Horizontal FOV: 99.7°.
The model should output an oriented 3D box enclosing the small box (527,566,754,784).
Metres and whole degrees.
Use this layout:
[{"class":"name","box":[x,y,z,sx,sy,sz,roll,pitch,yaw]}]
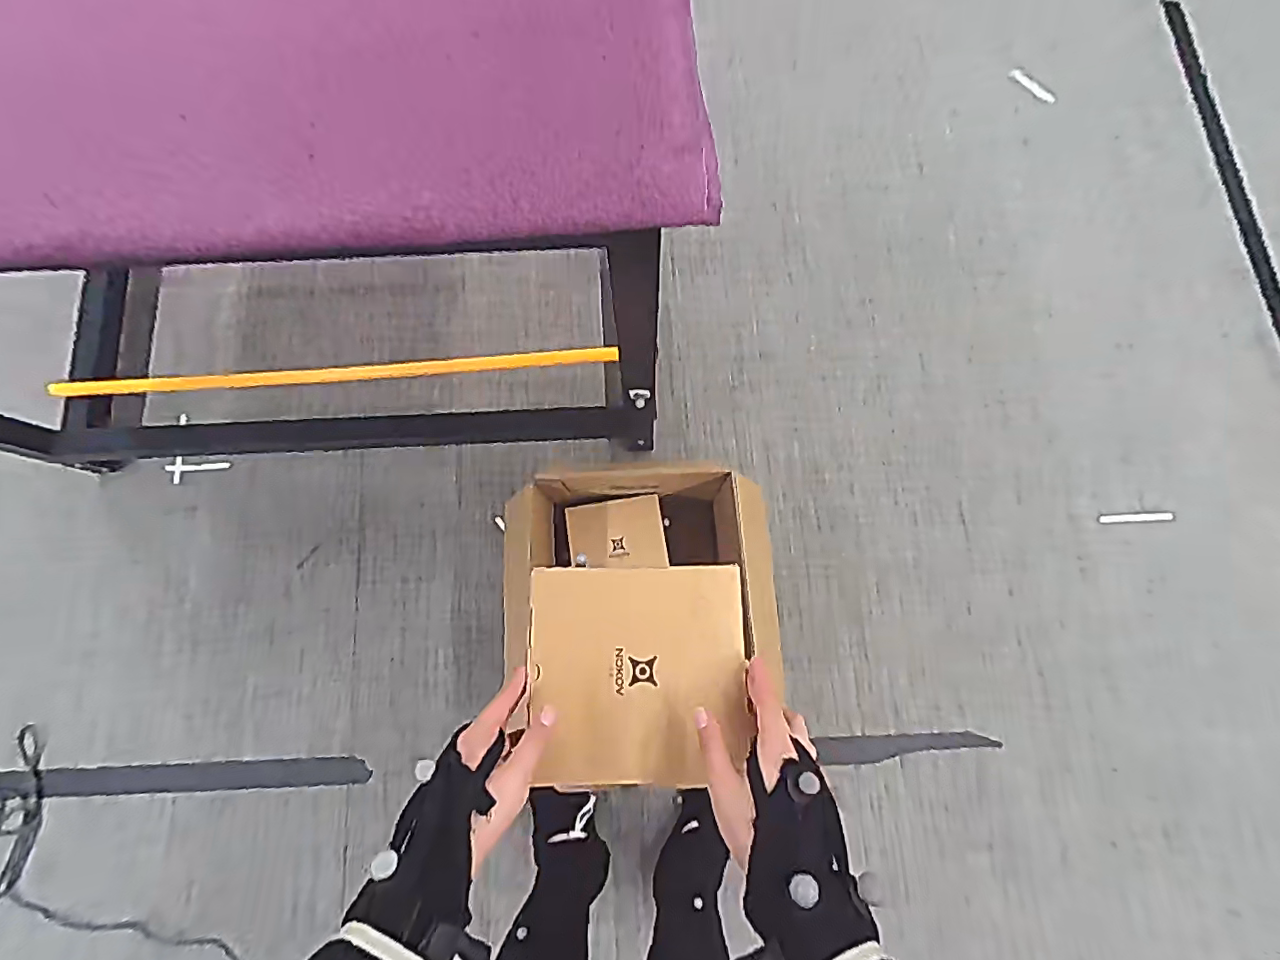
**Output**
[{"class":"small box","box":[-0.001,0.167,0.505,0.179,0.176,0.168,-1,77,-1]}]
